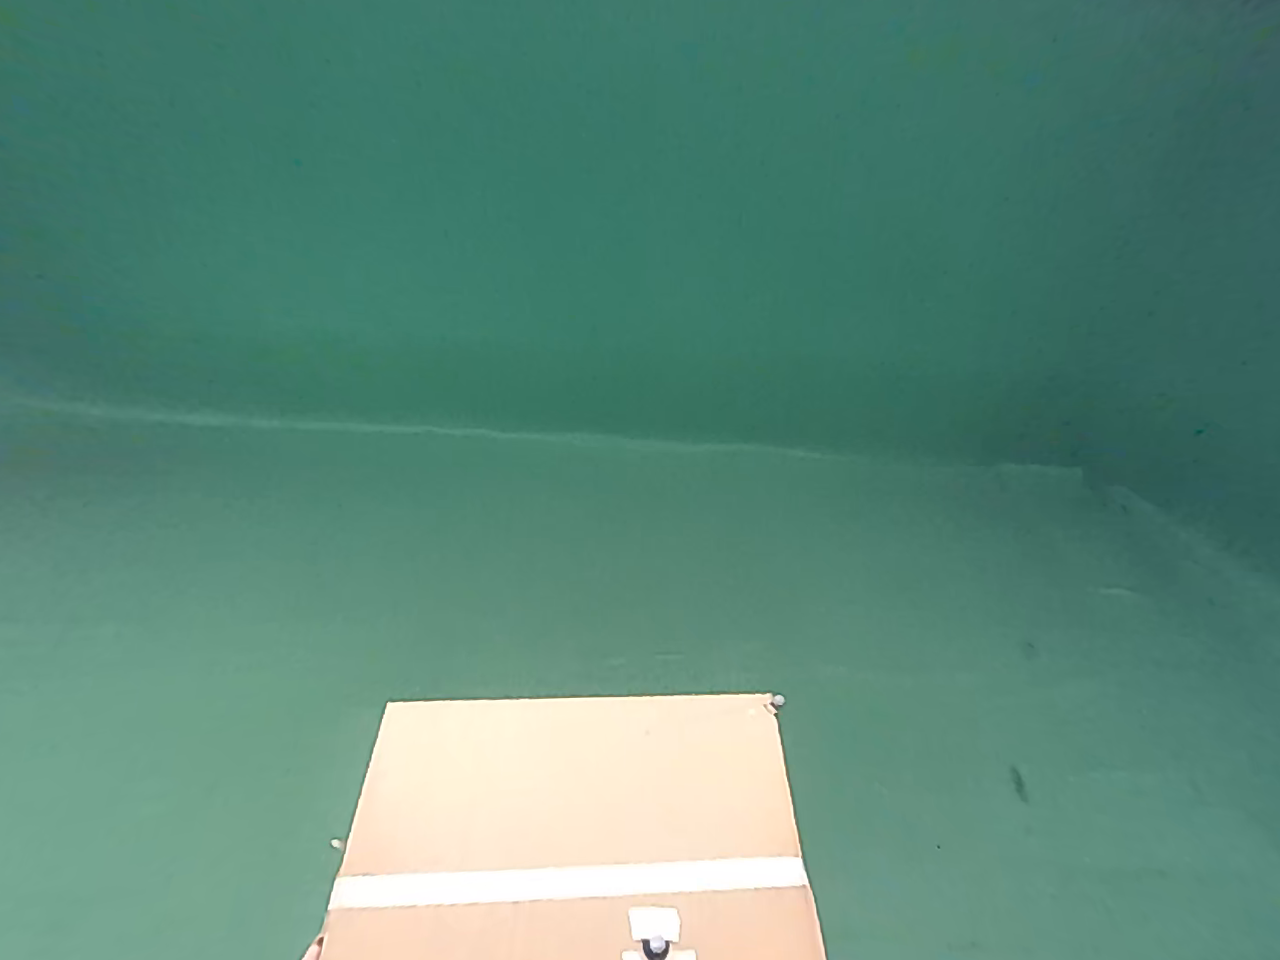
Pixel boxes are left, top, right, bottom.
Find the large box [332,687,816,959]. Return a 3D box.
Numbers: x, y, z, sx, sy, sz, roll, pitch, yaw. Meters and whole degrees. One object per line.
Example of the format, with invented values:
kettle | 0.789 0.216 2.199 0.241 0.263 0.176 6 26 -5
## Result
large box | -0.063 0.443 0.594 0.408 0.320 0.320 0 50 -4
